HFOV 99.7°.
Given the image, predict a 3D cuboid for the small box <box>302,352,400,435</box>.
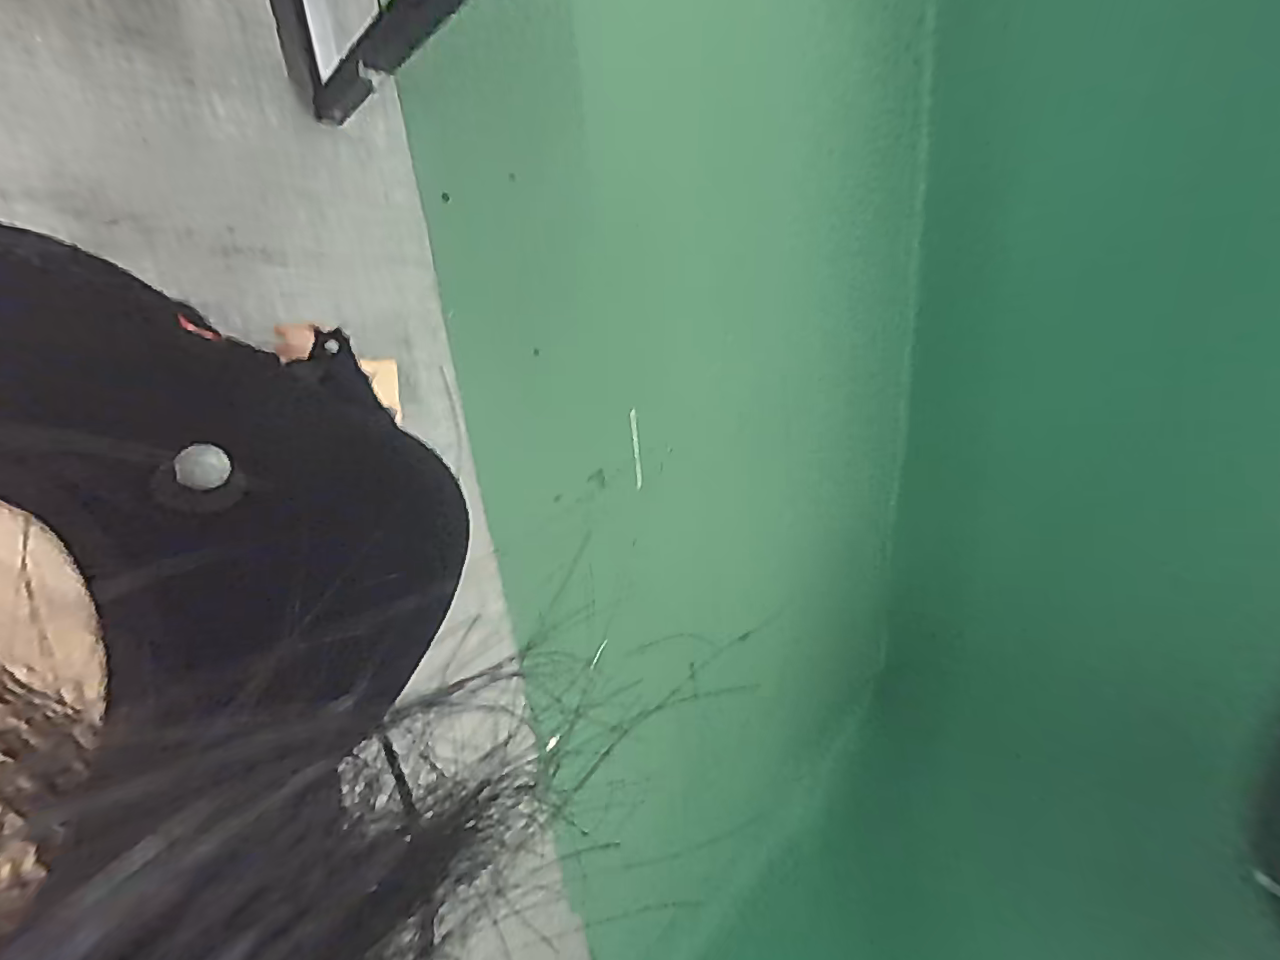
[{"bbox_3d":[-0.692,-0.212,1.294,0.168,0.176,0.179,-12,109,-41],"label":"small box"}]
